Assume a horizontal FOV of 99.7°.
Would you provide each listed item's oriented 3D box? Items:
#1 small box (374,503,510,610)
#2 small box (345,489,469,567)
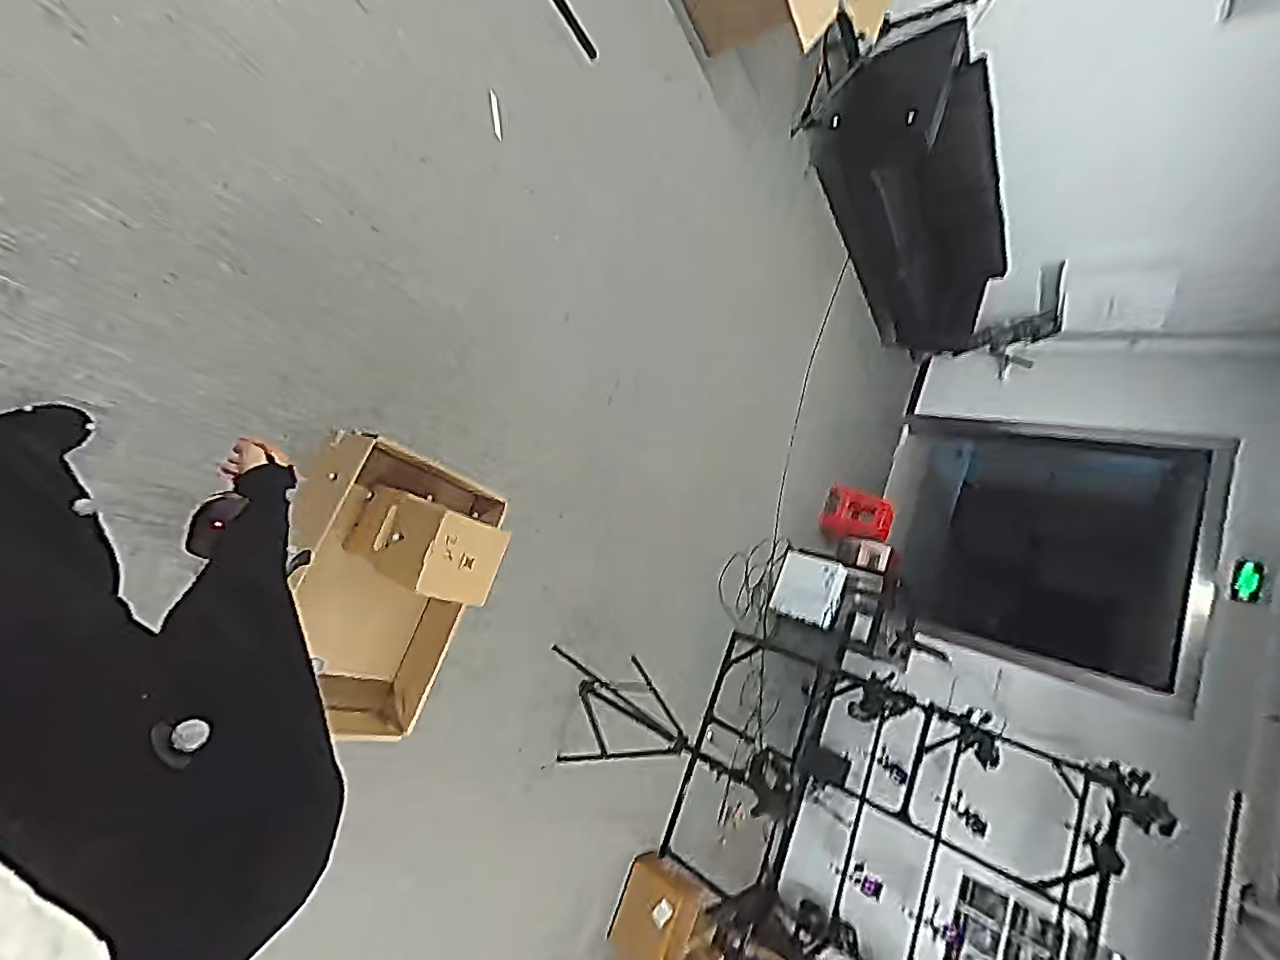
[{"bbox_3d":[-0.415,0.158,1.134,0.179,0.176,0.168,32,73,-49],"label":"small box"},{"bbox_3d":[-0.537,0.129,1.242,0.179,0.176,0.168,34,72,-50],"label":"small box"}]
